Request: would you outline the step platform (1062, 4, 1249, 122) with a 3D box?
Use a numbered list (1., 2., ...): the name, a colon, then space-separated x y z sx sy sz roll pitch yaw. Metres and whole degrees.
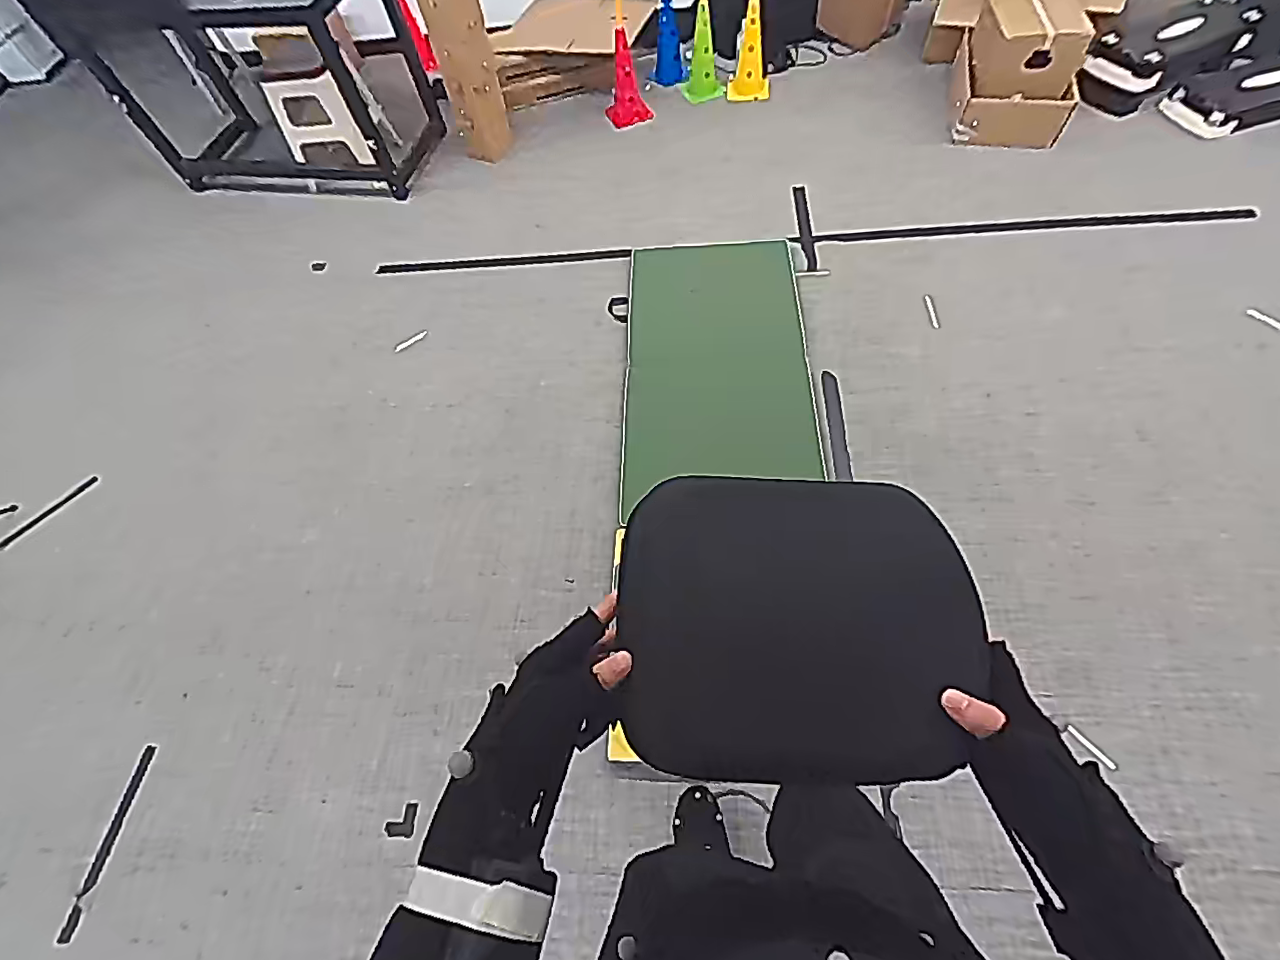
1. step platform: 2.236 -1.819 2.352 0.684 0.204 0.286 -27 62 -9
